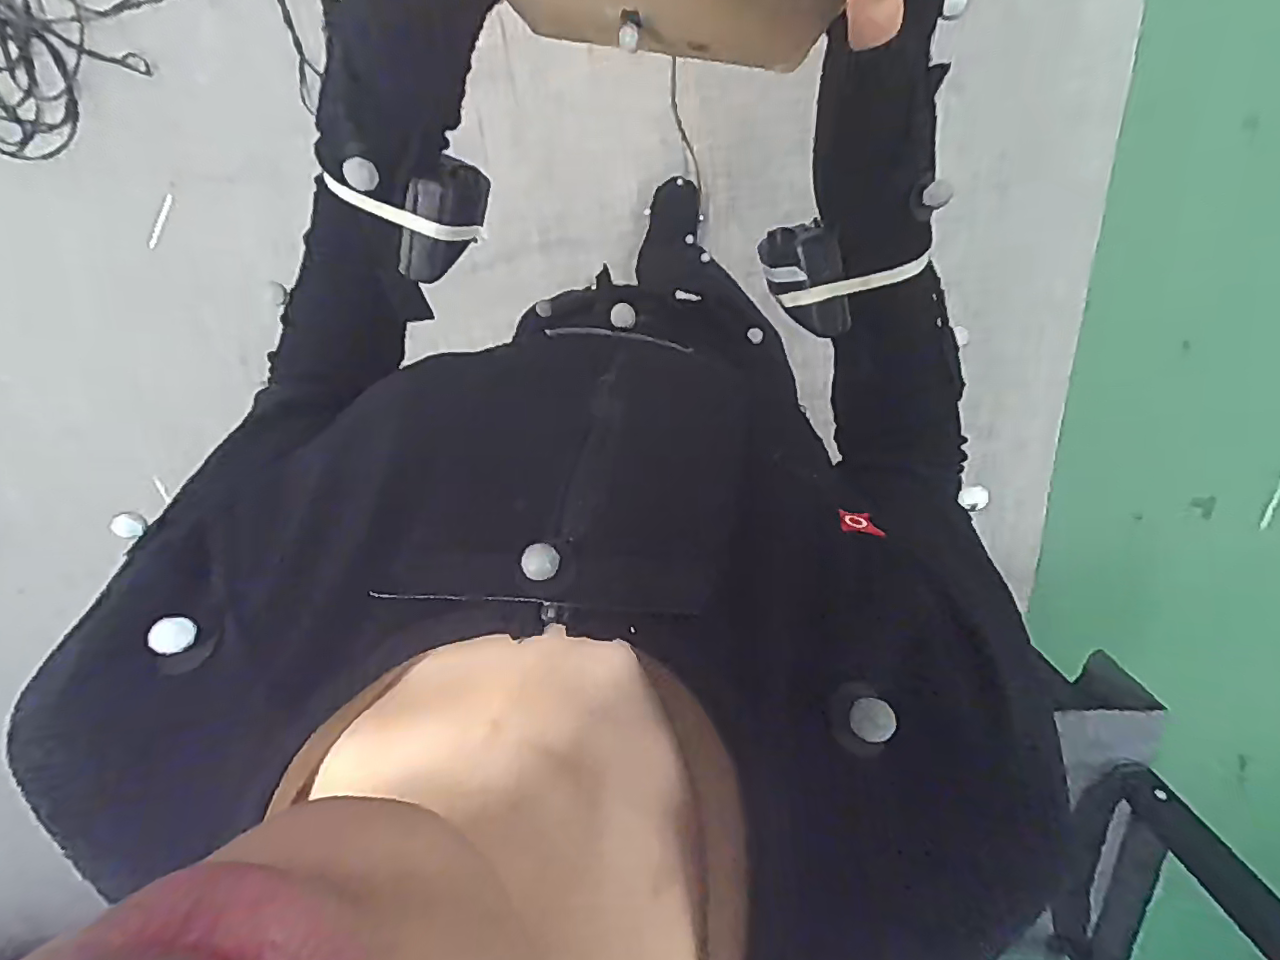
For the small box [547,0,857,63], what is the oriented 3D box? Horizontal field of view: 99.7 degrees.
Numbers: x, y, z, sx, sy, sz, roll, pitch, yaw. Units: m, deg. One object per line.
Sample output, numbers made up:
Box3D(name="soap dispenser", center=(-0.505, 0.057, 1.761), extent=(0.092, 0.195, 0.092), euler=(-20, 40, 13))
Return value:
Box3D(name="small box", center=(0.026, -0.304, 0.217), extent=(0.168, 0.176, 0.179), euler=(9, 118, 1))
